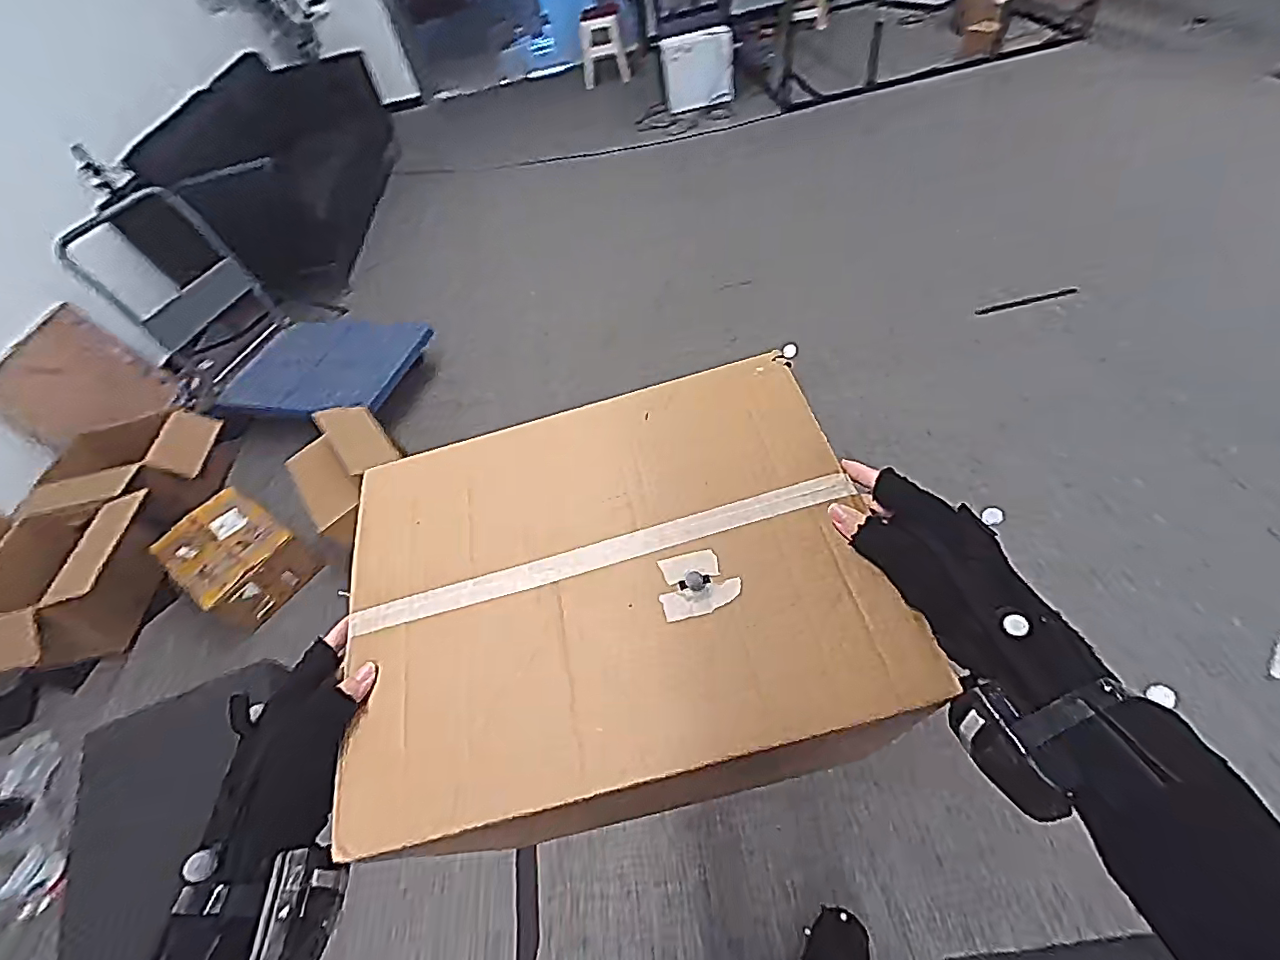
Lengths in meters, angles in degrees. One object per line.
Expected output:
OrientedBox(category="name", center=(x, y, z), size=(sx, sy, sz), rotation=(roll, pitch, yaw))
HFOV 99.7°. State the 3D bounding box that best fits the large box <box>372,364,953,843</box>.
OrientedBox(category="large box", center=(0.006, 0.143, 0.556), size=(0.408, 0.320, 0.320), rotation=(-15, 56, 1))
